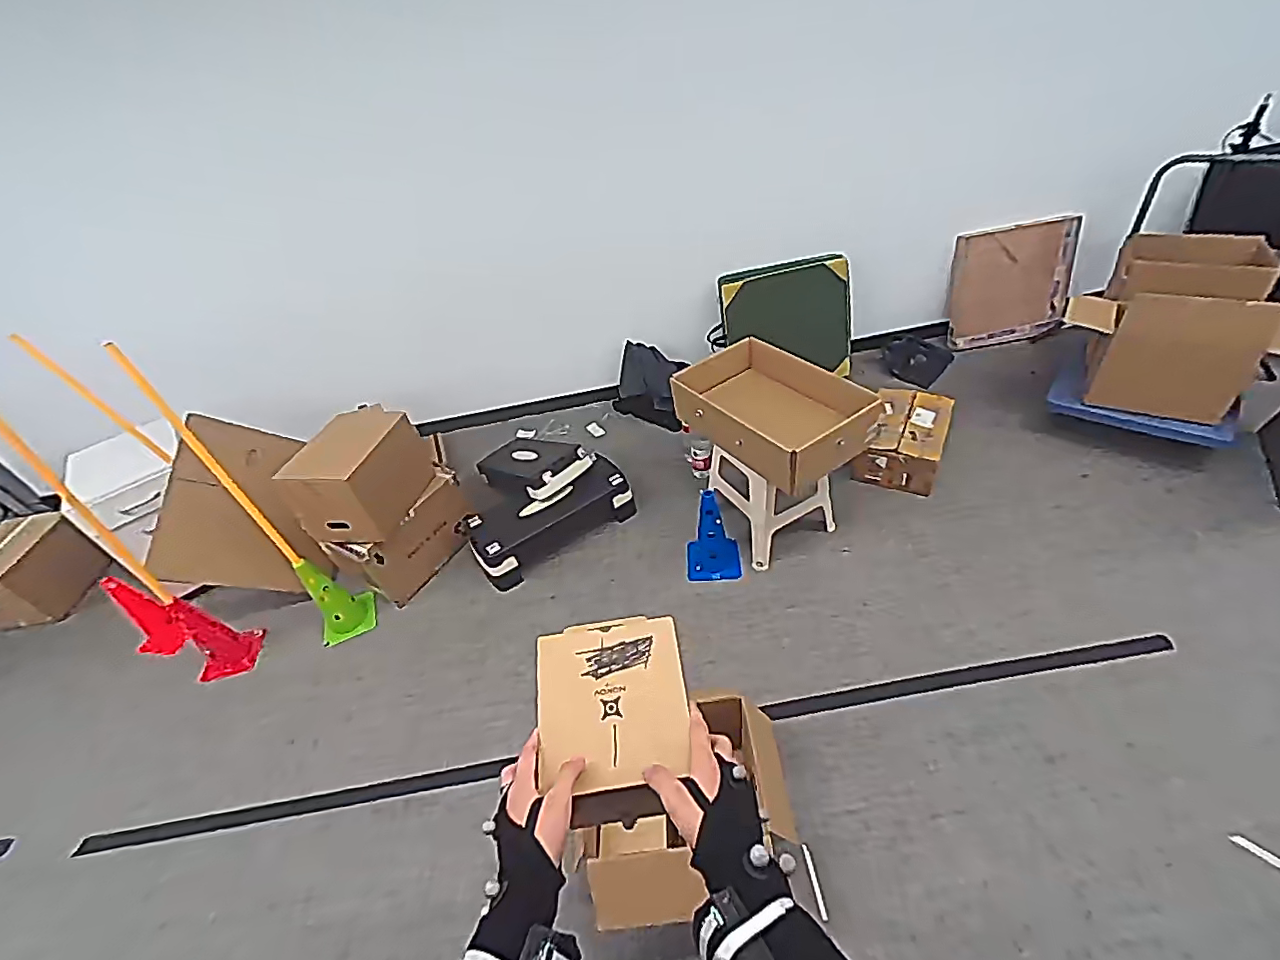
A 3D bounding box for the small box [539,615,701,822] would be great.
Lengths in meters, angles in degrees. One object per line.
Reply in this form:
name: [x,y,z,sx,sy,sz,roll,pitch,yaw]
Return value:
small box: [-0.022,0.290,0.655,0.168,0.176,0.179,-9,49,0]
